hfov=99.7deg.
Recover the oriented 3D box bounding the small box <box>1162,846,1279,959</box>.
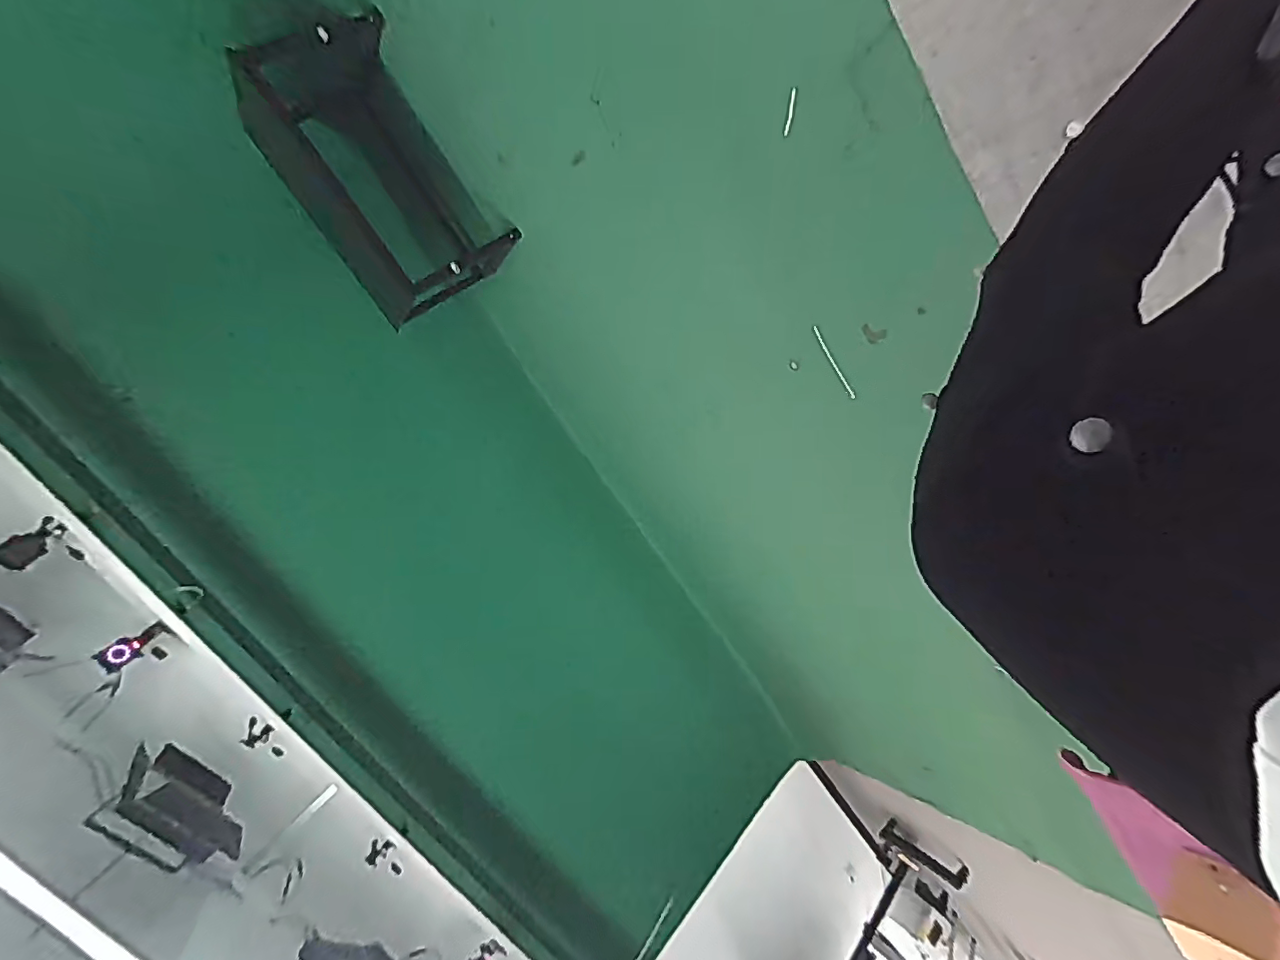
[{"bbox_3d":[1.276,0.944,1.158,0.179,0.176,0.168,54,154,-15],"label":"small box"}]
